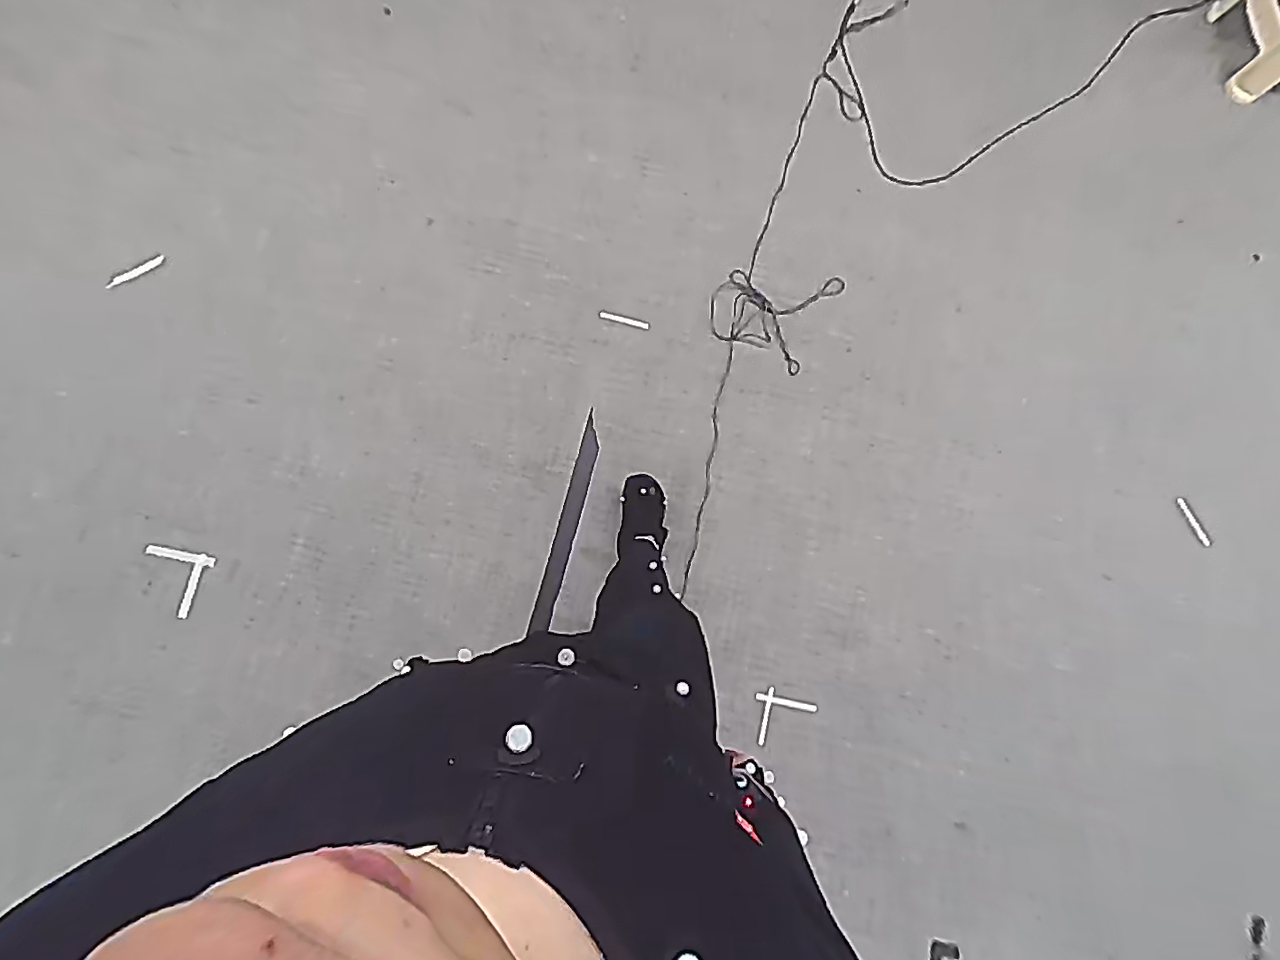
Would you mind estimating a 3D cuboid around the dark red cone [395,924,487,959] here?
[{"bbox_3d":[-0.444,1.081,1.032,0.201,0.394,0.202,14,81,-1],"label":"dark red cone"}]
